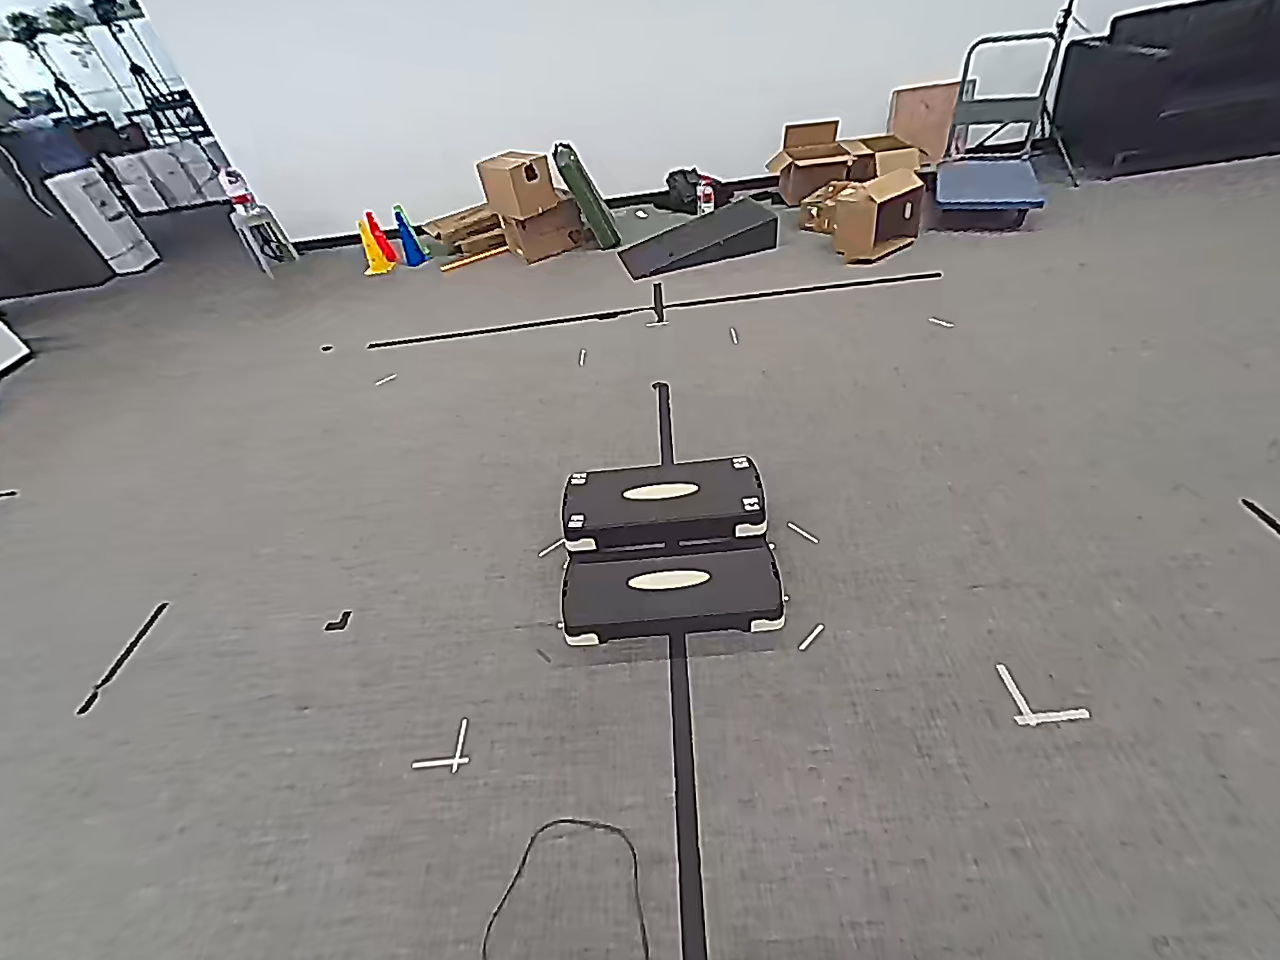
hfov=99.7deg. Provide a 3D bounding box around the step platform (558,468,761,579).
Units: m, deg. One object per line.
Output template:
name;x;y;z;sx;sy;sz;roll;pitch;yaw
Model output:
step platform;0.063;0.142;1.845;0.684;0.204;0.286;-6;43;3
